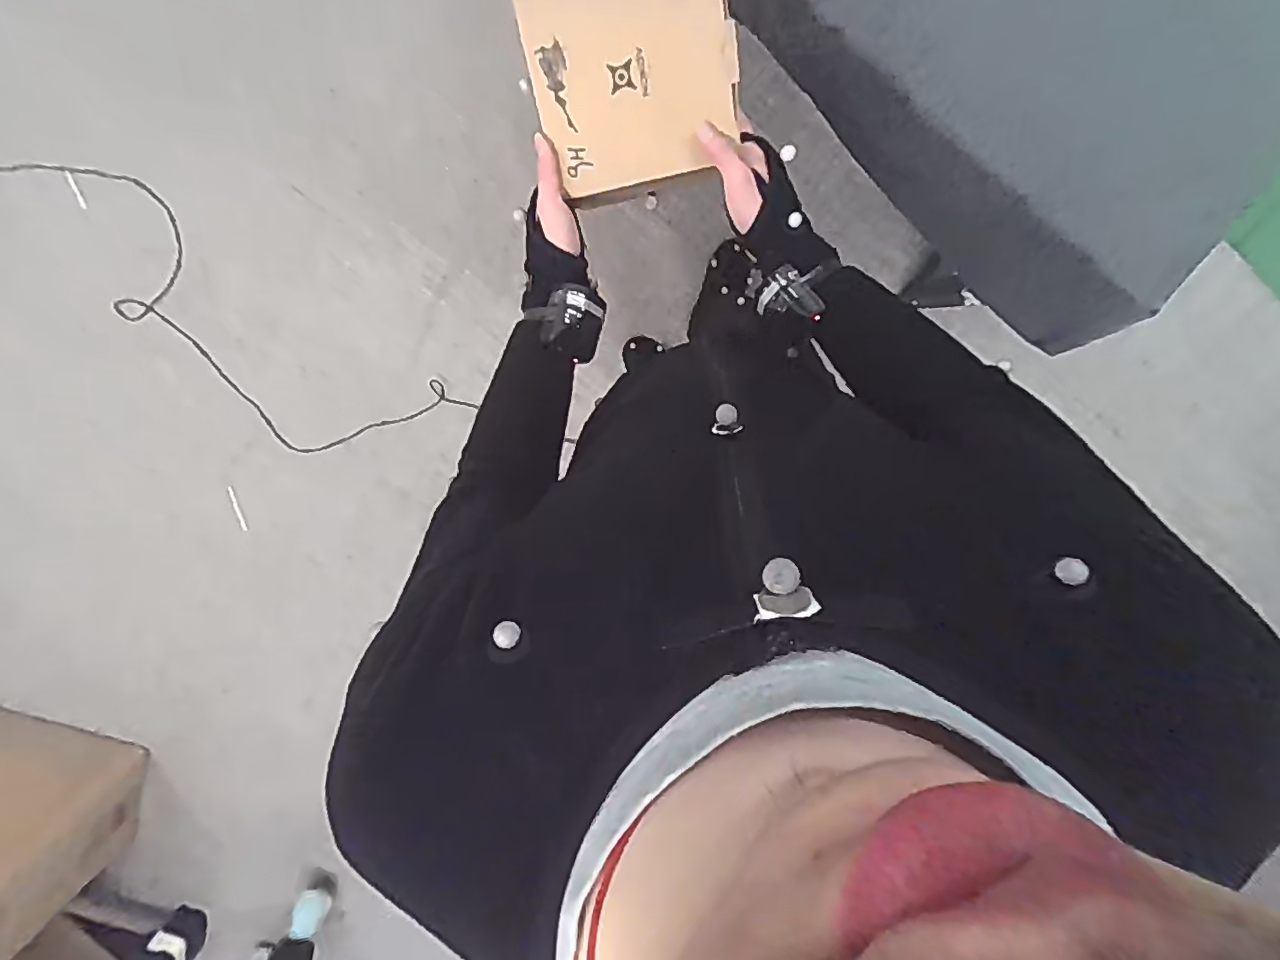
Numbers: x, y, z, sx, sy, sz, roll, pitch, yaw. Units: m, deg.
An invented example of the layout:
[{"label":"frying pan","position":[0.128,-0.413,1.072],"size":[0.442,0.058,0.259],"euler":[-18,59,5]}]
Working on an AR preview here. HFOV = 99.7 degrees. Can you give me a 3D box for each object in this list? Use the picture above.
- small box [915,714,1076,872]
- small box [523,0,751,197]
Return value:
[{"label":"small box","position":[0.678,0.607,1.062],"size":[0.168,0.176,0.179],"euler":[33,103,-12]},{"label":"small box","position":[-0.003,-0.383,0.521],"size":[0.179,0.176,0.168],"euler":[-10,112,3]}]
